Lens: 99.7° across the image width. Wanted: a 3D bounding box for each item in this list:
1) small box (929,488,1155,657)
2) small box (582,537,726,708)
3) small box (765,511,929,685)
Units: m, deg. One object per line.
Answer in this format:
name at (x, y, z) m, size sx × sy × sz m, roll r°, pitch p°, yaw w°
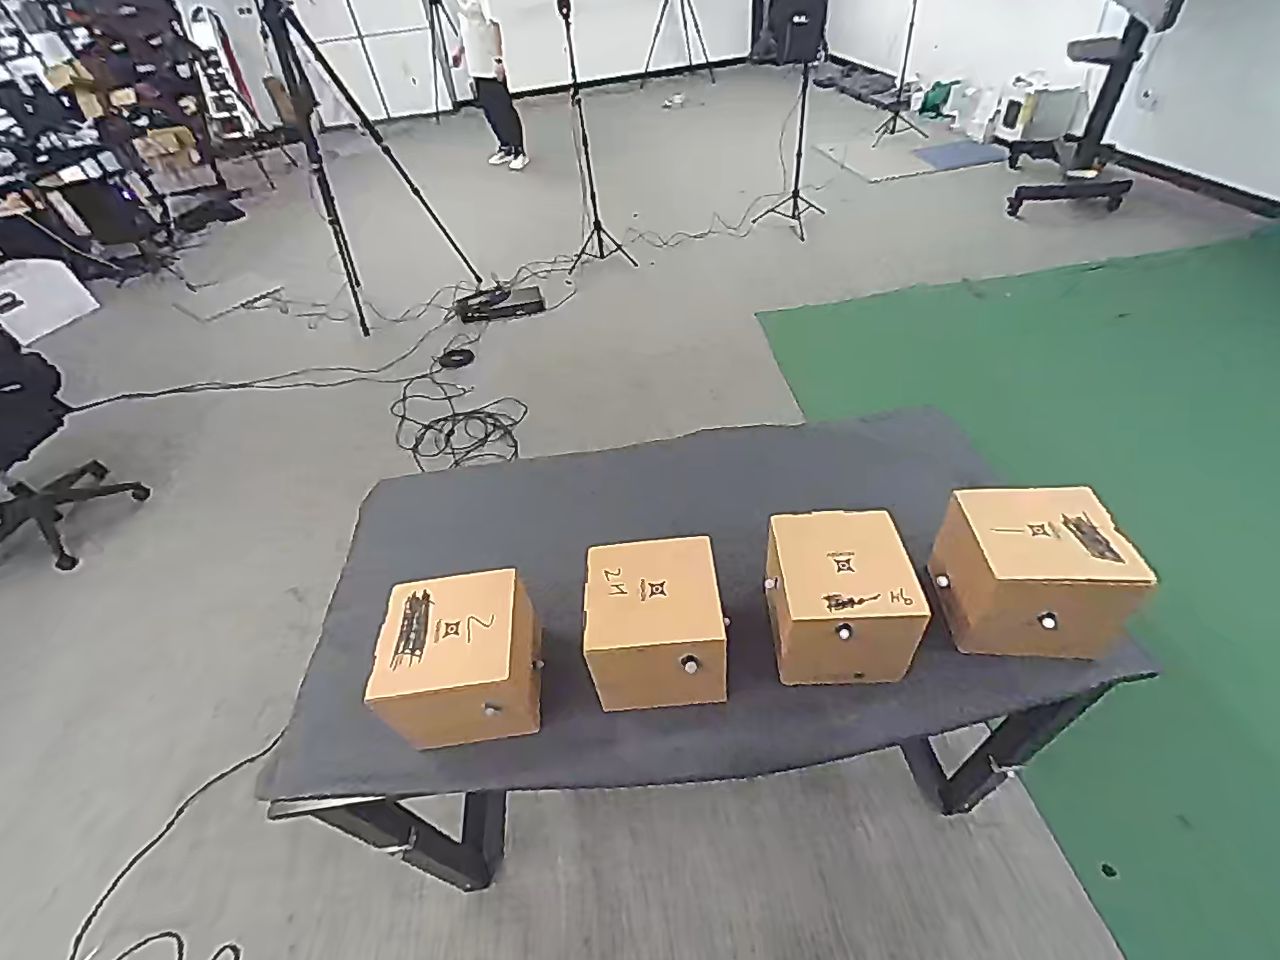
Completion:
small box at (0.530, 0.128, 0.747) m, size 0.179 × 0.176 × 0.168 m, roll -1°, pitch 41°, yaw 10°
small box at (0.023, 0.202, 0.758) m, size 0.179 × 0.176 × 0.168 m, roll -7°, pitch 43°, yaw 4°
small box at (0.271, 0.164, 0.757) m, size 0.168 × 0.176 × 0.179 m, roll -3°, pitch 43°, yaw 6°
